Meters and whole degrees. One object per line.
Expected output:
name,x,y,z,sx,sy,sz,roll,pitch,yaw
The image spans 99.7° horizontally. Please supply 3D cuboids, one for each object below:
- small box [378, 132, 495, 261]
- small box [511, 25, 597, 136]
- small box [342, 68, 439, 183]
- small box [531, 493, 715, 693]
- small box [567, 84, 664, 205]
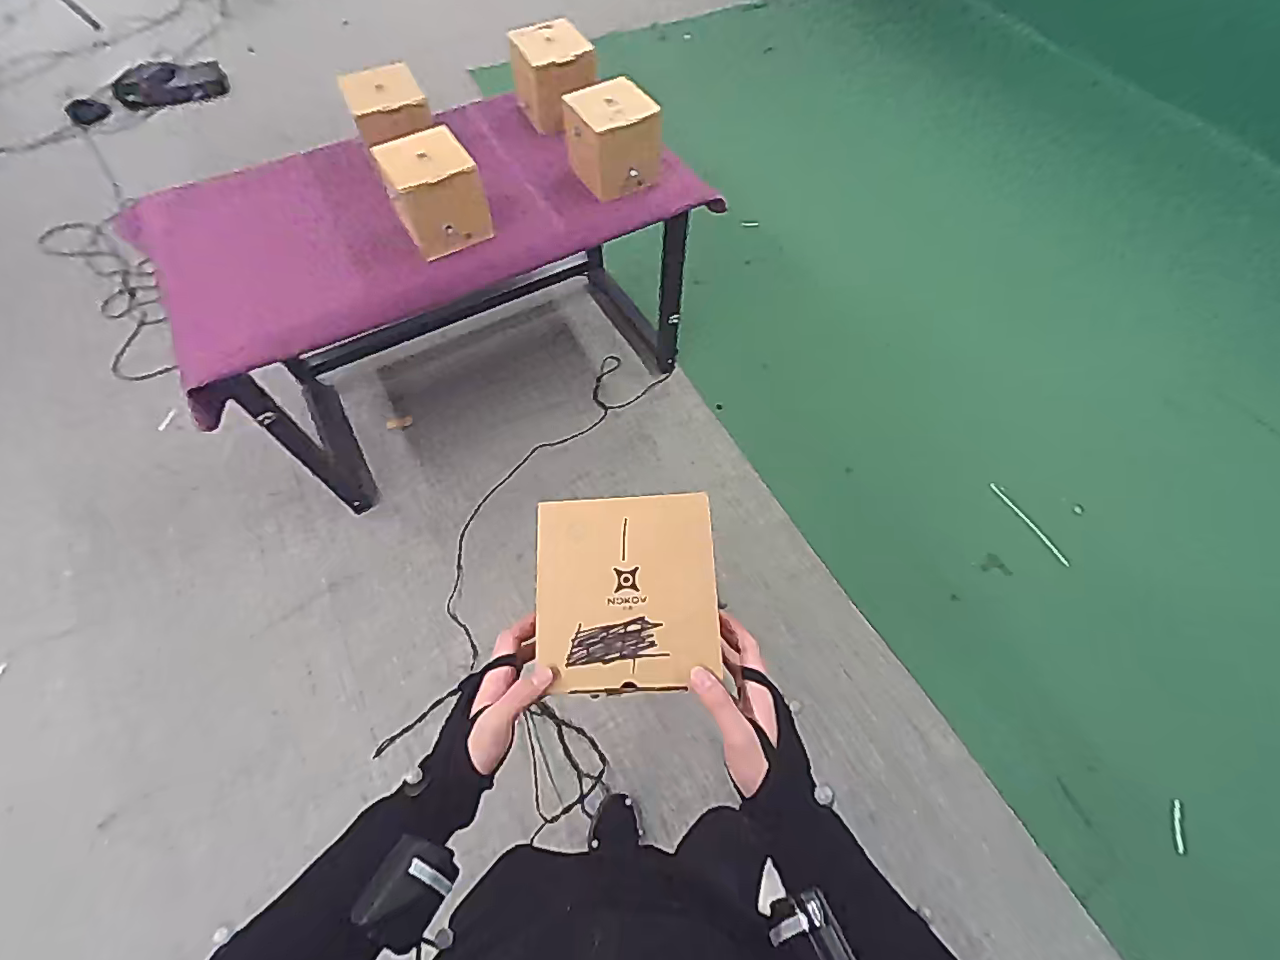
small box,-0.441,-0.621,1.192,0.168,0.176,0.179,-28,65,-16
small box,-0.216,-1.036,1.416,0.168,0.176,0.179,-25,68,-14
small box,-0.586,-0.850,1.314,0.168,0.176,0.179,-23,65,-14
small box,-0.011,0.122,0.569,0.168,0.176,0.179,-3,71,3
small box,-0.058,-0.795,1.288,0.168,0.176,0.179,-27,65,-13
